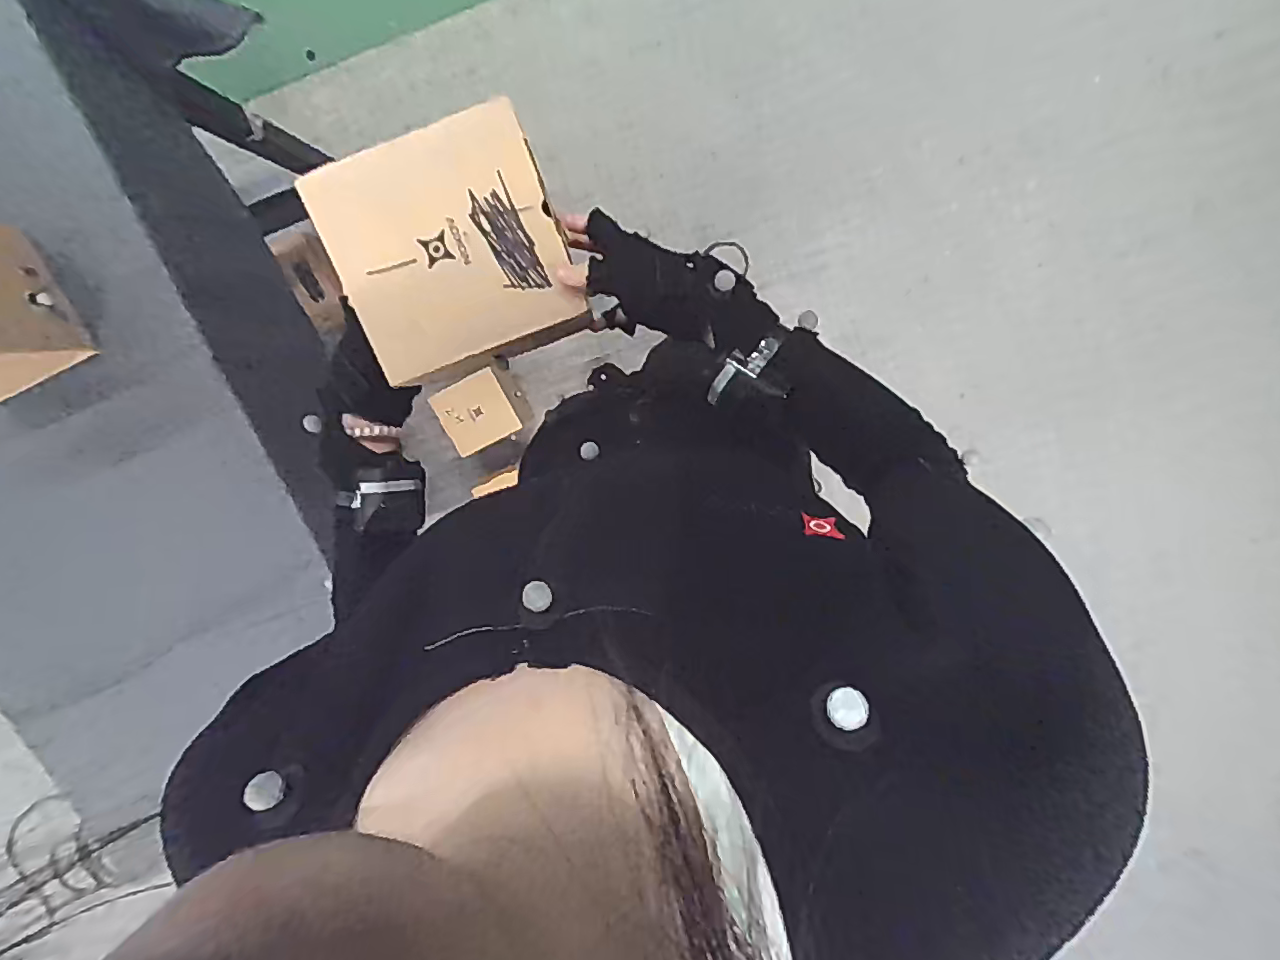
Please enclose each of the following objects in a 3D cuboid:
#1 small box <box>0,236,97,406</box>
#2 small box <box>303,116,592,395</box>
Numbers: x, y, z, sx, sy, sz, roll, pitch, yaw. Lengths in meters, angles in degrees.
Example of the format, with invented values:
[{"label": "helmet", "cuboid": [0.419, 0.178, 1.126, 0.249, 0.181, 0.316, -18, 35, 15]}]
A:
[{"label": "small box", "cuboid": [-0.812, -0.177, 0.623, 0.179, 0.176, 0.168, -22, 105, 6]}, {"label": "small box", "cuboid": [-0.151, -0.187, 0.498, 0.179, 0.176, 0.168, -20, 102, 1]}]
